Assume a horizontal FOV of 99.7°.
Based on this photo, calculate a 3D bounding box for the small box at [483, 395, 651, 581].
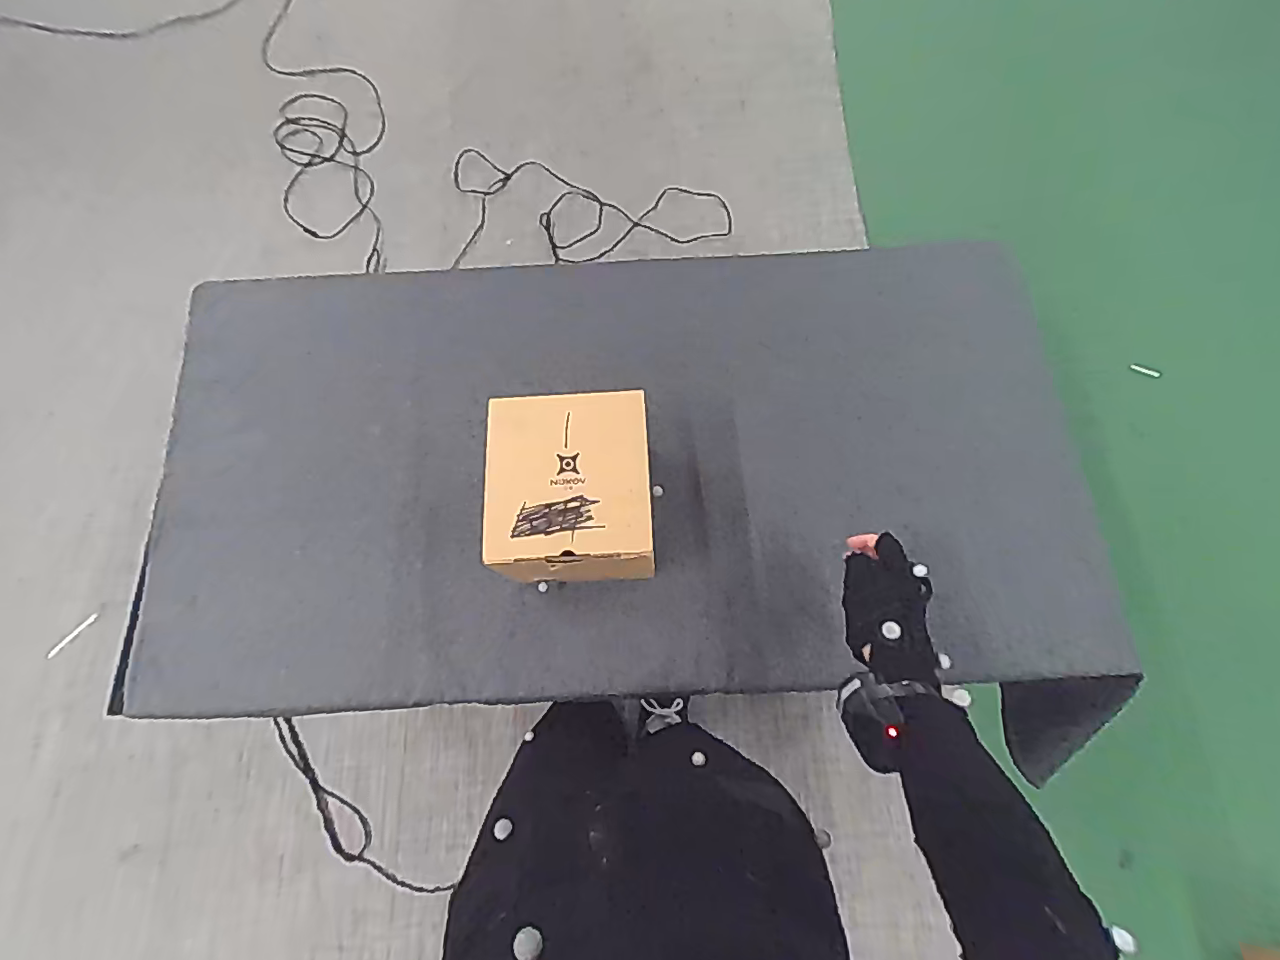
[{"bbox_3d":[-0.073,0.021,0.625,0.168,0.176,0.179,-3,72,0],"label":"small box"}]
